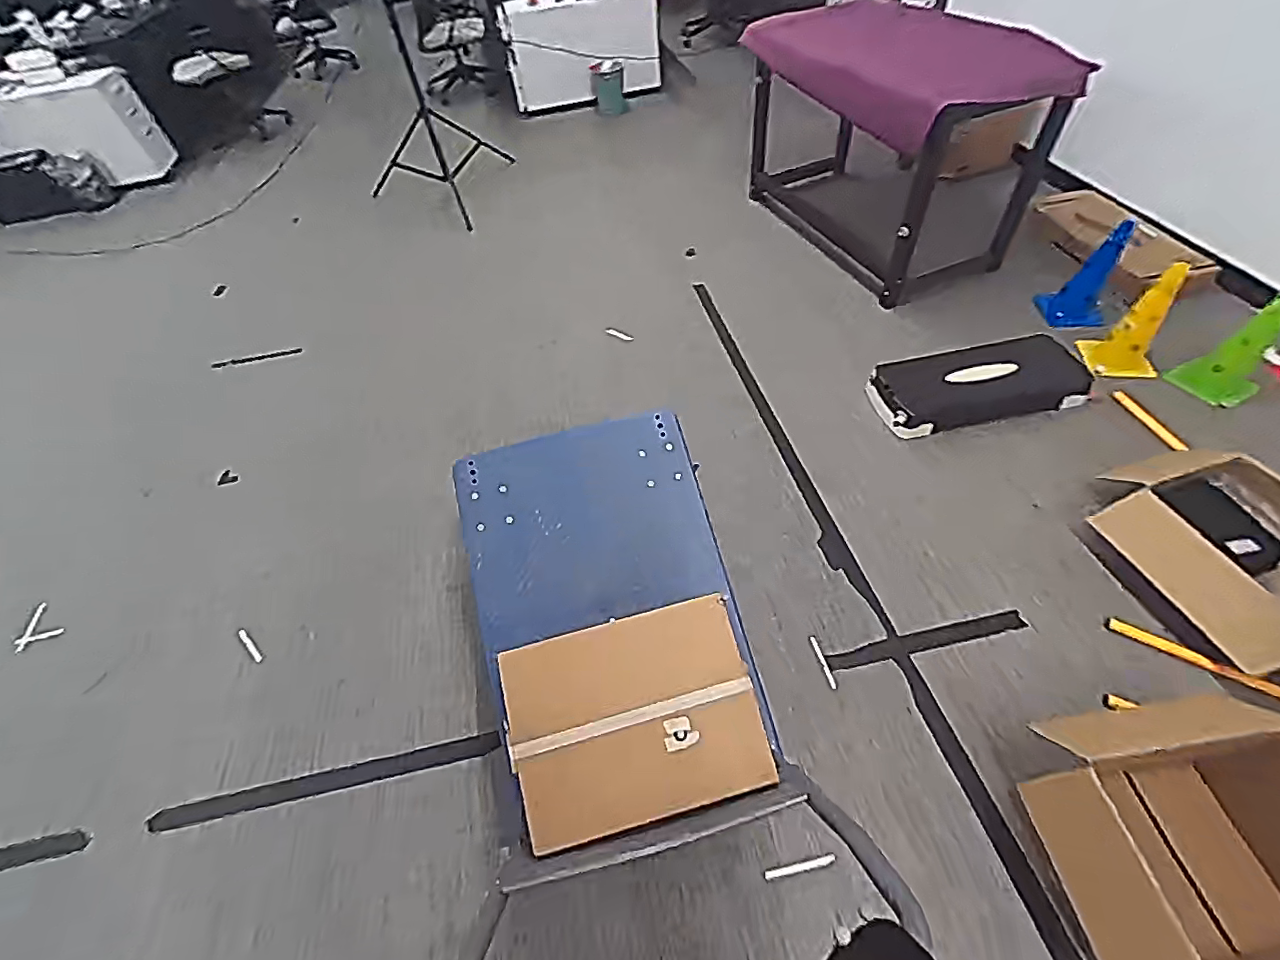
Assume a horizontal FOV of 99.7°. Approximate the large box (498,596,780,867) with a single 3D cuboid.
[{"bbox_3d":[-0.011,0.441,1.017,0.408,0.320,0.320,-15,73,-6],"label":"large box"}]
